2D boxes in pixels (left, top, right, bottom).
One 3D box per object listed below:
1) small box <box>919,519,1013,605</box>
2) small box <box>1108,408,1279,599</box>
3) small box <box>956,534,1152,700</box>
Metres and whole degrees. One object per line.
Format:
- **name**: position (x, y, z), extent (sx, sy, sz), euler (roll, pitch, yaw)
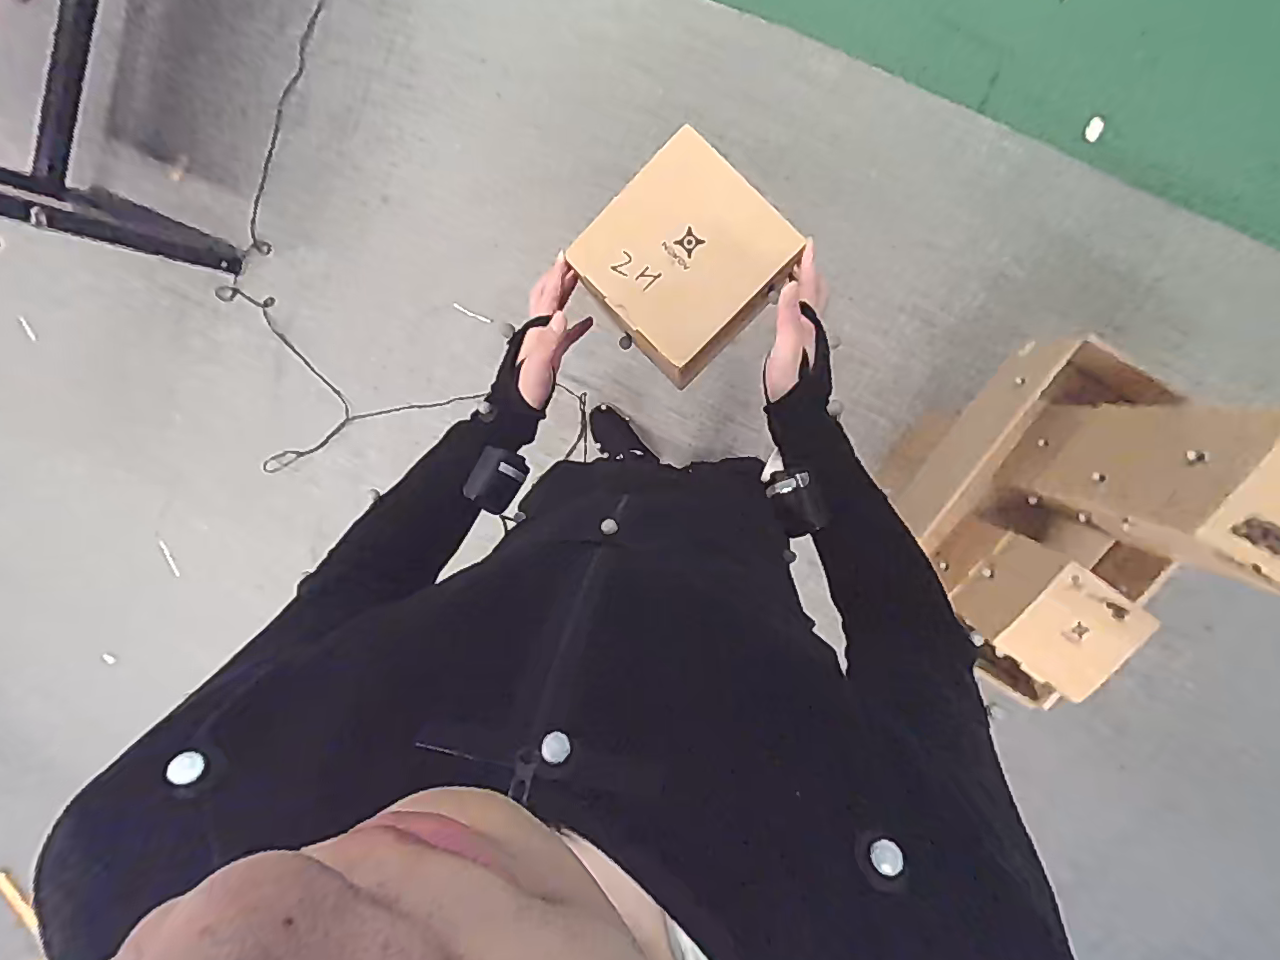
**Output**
- **small box**: position (0.698, 0.195, 1.074), extent (0.179, 0.176, 0.168), euler (38, 103, 1)
- **small box**: position (0.770, 0.023, 0.699), extent (0.168, 0.176, 0.179), euler (32, 103, 2)
- **small box**: position (0.674, 0.221, 0.915), extent (0.168, 0.176, 0.179), euler (37, 104, 1)
